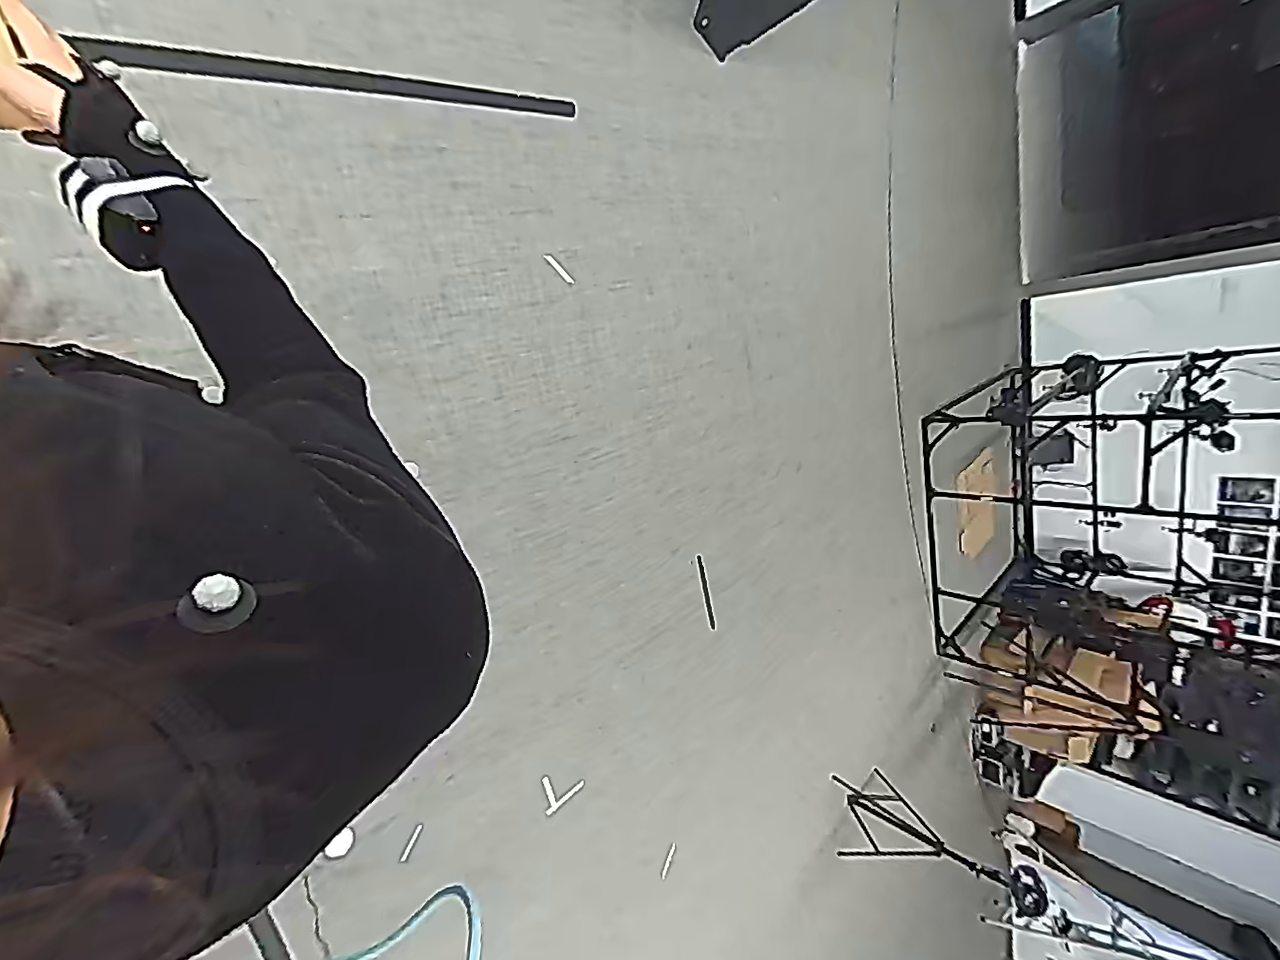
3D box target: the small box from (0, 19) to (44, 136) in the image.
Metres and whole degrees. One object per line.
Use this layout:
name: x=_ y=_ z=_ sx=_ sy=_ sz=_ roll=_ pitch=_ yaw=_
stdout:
small box: x=-0.591 y=-0.357 z=0.388 sx=0.168 sy=0.176 sz=0.179 roll=-30 pitch=133 yaw=-42
